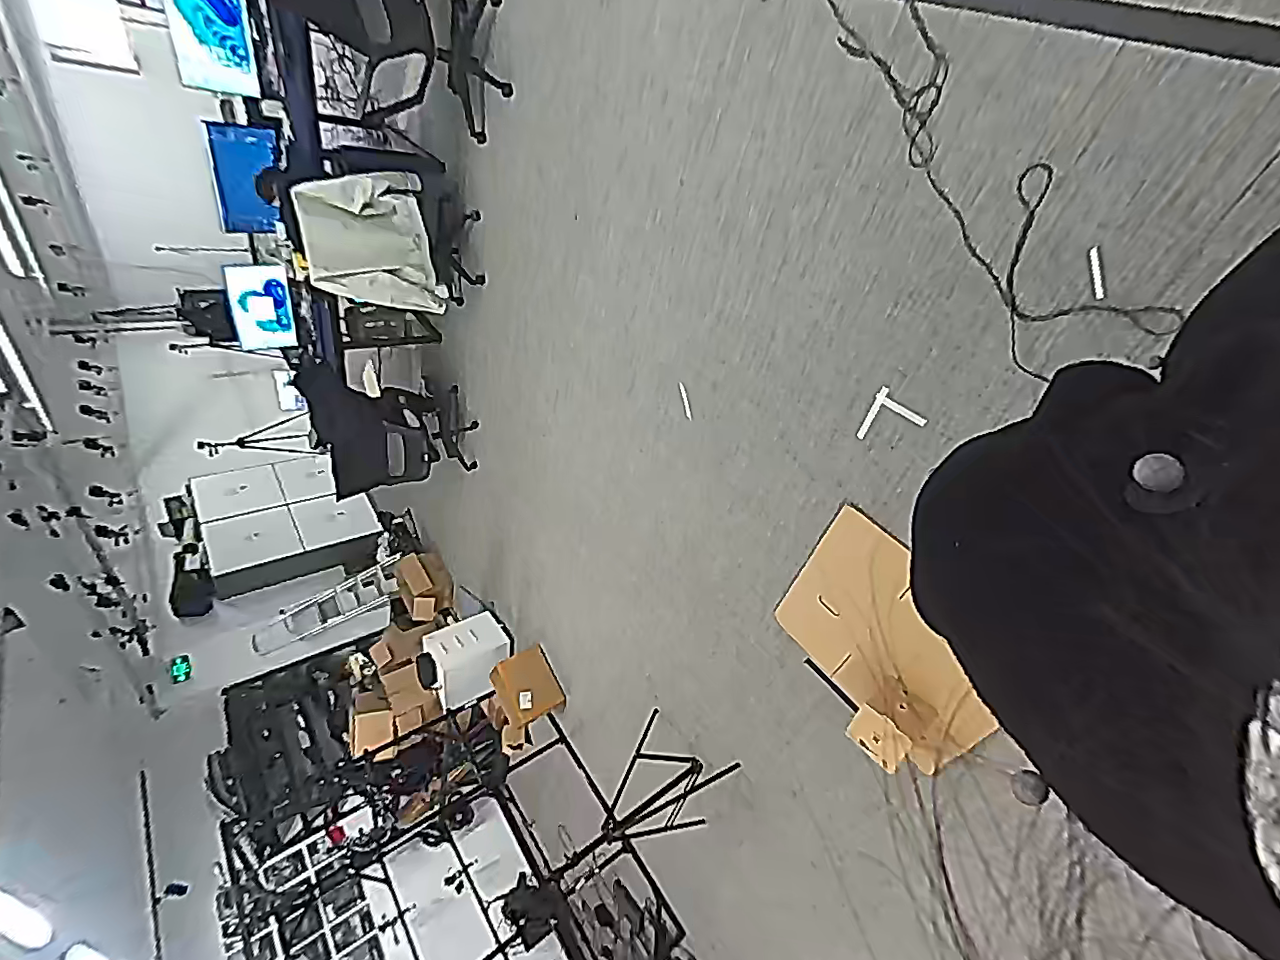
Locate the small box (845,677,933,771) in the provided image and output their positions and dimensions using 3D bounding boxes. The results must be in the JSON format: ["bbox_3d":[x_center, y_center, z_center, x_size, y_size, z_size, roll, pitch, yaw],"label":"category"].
[{"bbox_3d":[0.779,0.751,1.683,0.168,0.176,0.179,40,132,36],"label":"small box"}]
